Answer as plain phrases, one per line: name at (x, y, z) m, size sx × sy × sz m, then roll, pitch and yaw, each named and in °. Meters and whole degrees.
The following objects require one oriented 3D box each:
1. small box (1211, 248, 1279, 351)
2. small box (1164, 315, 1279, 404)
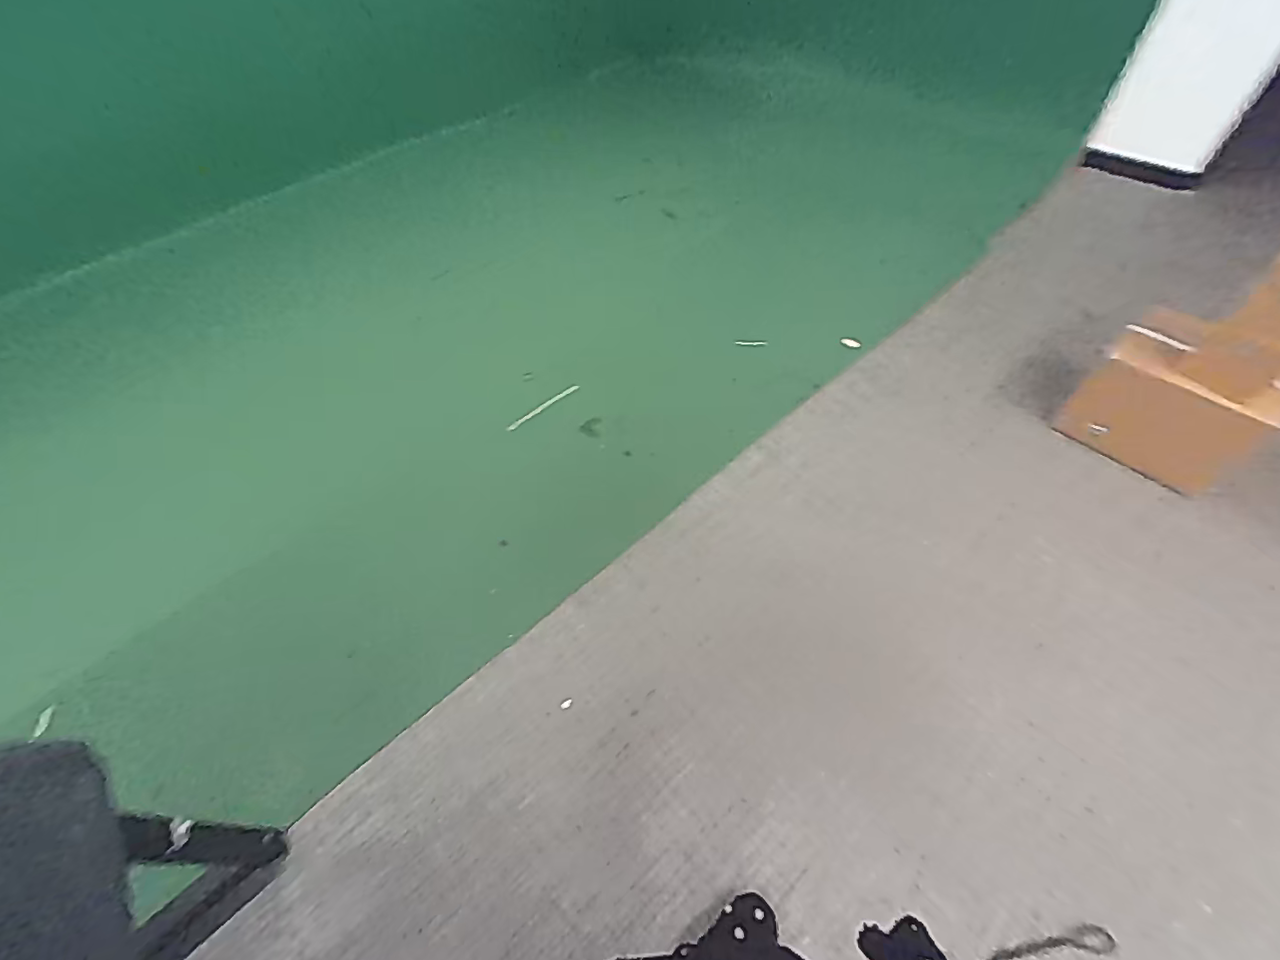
small box at (1.498, -0.422, 1.237) m, size 0.168 × 0.176 × 0.179 m, roll -34°, pitch 57°, yaw -16°
small box at (1.509, -0.327, 1.370) m, size 0.168 × 0.176 × 0.179 m, roll -33°, pitch 59°, yaw -15°
